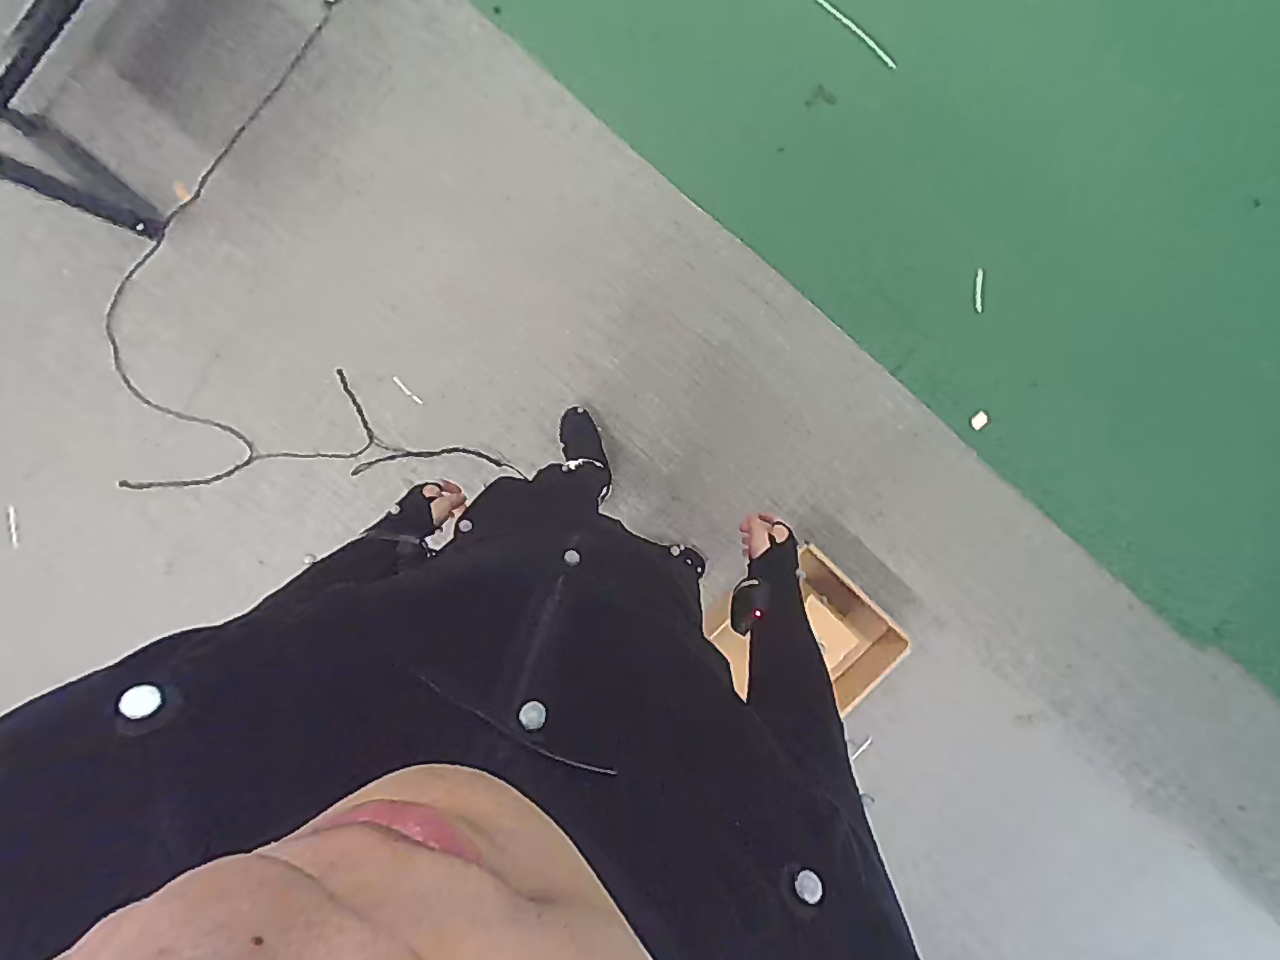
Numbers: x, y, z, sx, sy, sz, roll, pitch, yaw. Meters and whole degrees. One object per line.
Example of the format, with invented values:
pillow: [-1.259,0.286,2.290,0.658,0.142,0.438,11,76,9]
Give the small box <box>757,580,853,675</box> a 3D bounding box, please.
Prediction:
small box: [0.446,0.397,1.497,0.179,0.176,0.168,44,95,1]
